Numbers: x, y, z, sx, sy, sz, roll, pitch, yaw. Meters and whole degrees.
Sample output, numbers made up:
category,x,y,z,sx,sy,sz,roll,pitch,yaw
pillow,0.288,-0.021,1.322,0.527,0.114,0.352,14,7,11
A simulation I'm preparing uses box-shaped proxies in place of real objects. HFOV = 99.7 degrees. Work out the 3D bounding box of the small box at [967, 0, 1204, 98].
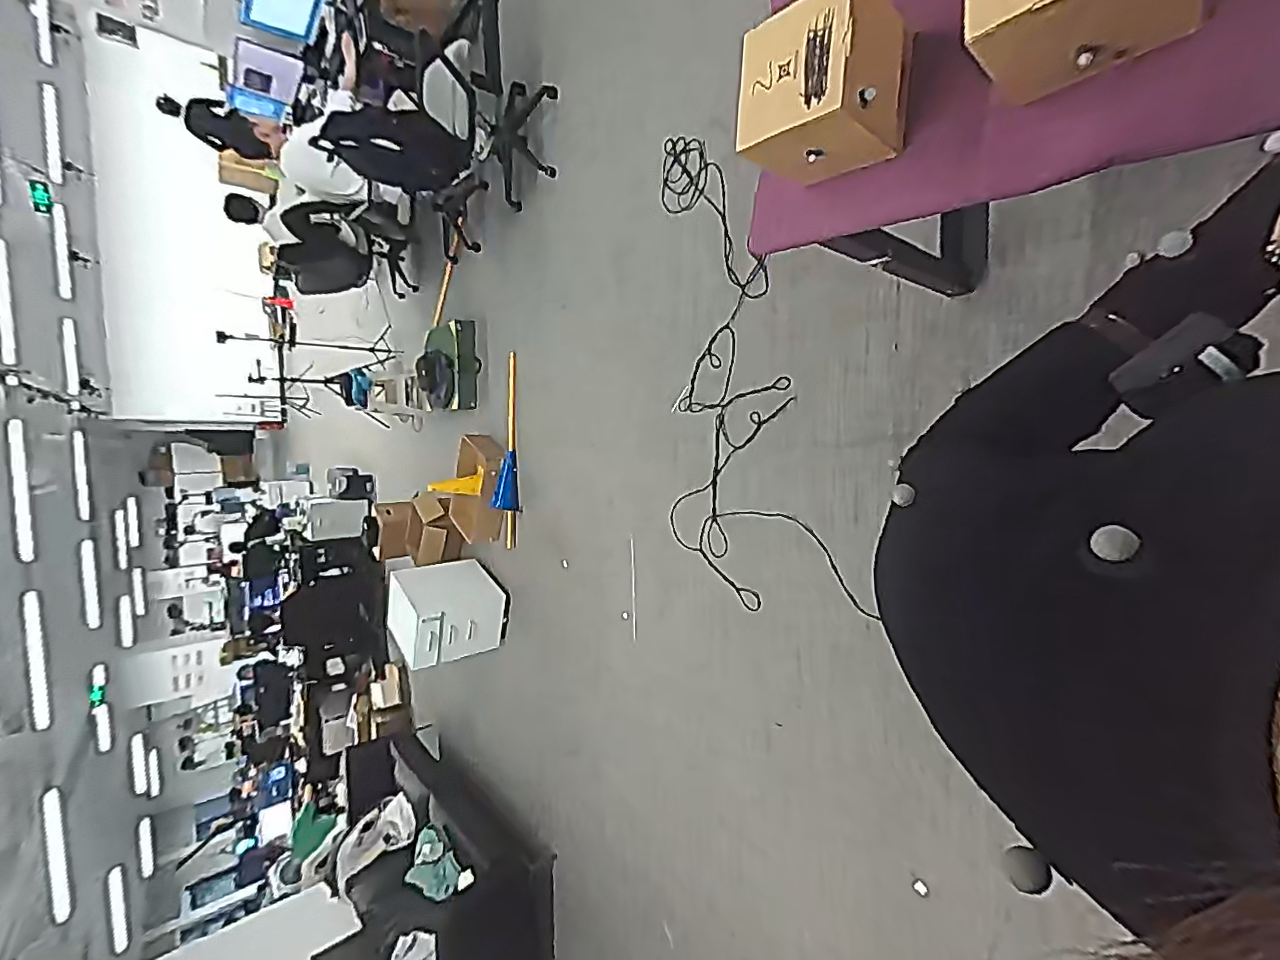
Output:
category,x,y,z,sx,sy,sz,roll,pitch,yaw
small box,0.461,-0.551,0.558,0.168,0.176,0.179,2,94,50
